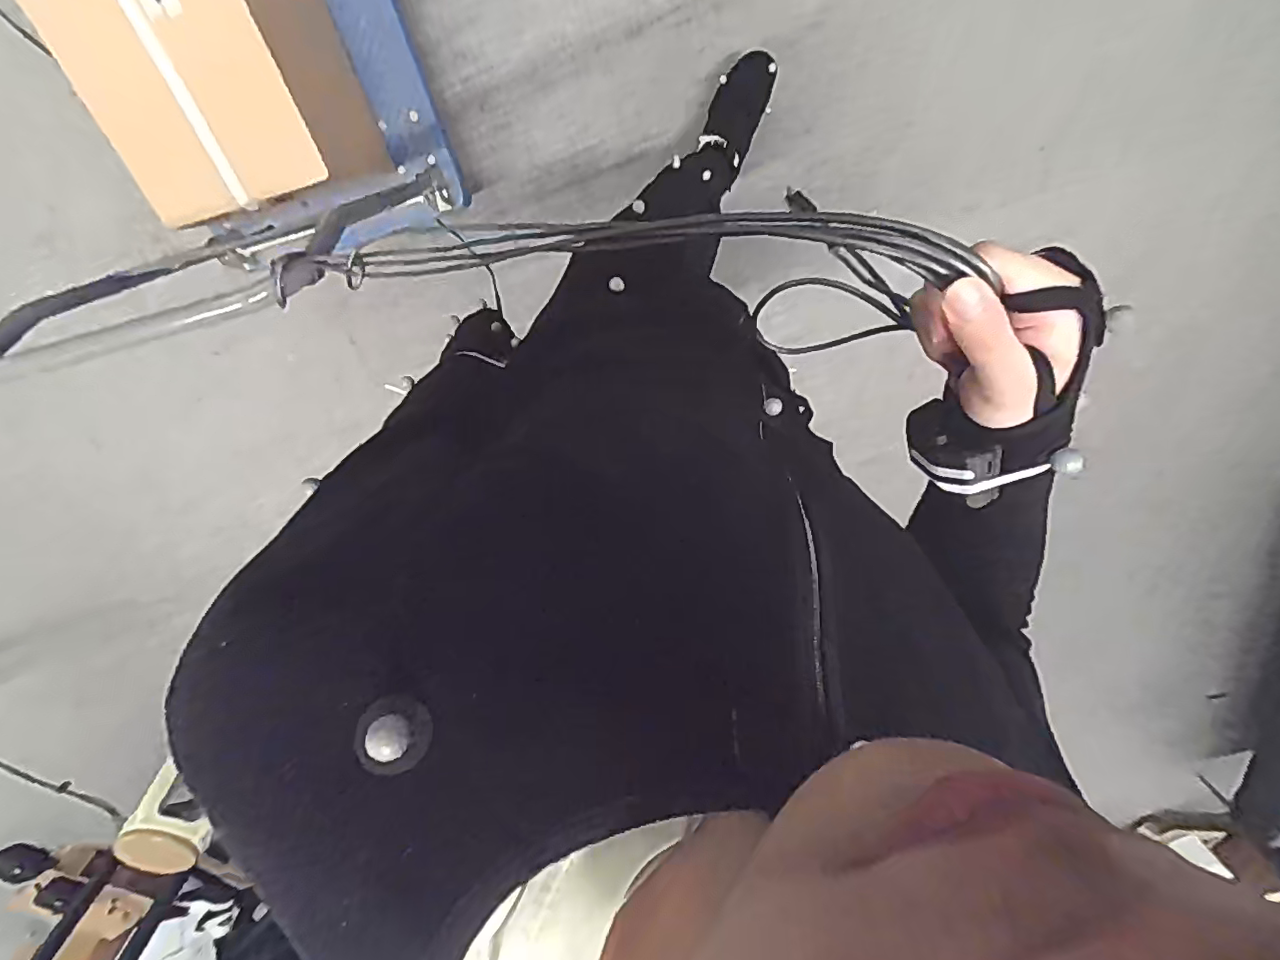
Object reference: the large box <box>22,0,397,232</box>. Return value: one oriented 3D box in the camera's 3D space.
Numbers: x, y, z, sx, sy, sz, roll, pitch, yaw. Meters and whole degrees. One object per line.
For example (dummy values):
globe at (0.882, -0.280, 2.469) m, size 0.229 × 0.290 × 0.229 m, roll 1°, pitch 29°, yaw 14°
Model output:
large box at (-0.704, -0.695, 0.937) m, size 0.320 × 0.320 × 0.408 m, roll -14°, pitch 119°, yaw 6°
